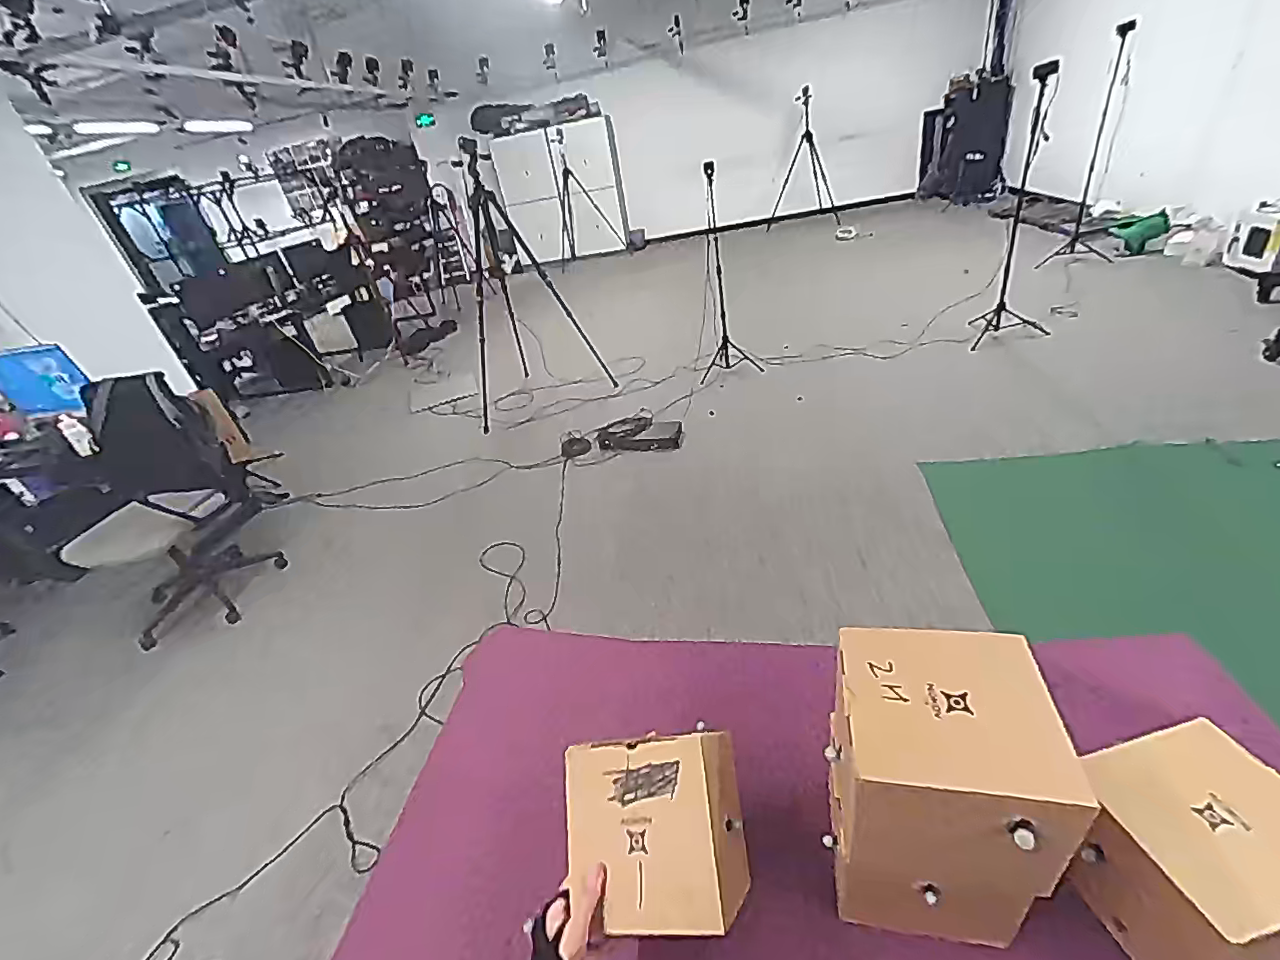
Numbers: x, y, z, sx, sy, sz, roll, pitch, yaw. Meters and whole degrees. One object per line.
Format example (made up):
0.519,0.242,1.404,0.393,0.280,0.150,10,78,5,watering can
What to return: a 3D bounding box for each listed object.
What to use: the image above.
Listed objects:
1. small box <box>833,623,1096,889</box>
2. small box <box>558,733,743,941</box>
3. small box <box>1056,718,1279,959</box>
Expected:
0.288,0.265,0.530,0.179,0.176,0.168,-1,33,16,small box
0.016,0.399,0.632,0.168,0.176,0.179,-13,66,16,small box
0.562,0.389,0.559,0.179,0.176,0.168,-14,31,-5,small box
